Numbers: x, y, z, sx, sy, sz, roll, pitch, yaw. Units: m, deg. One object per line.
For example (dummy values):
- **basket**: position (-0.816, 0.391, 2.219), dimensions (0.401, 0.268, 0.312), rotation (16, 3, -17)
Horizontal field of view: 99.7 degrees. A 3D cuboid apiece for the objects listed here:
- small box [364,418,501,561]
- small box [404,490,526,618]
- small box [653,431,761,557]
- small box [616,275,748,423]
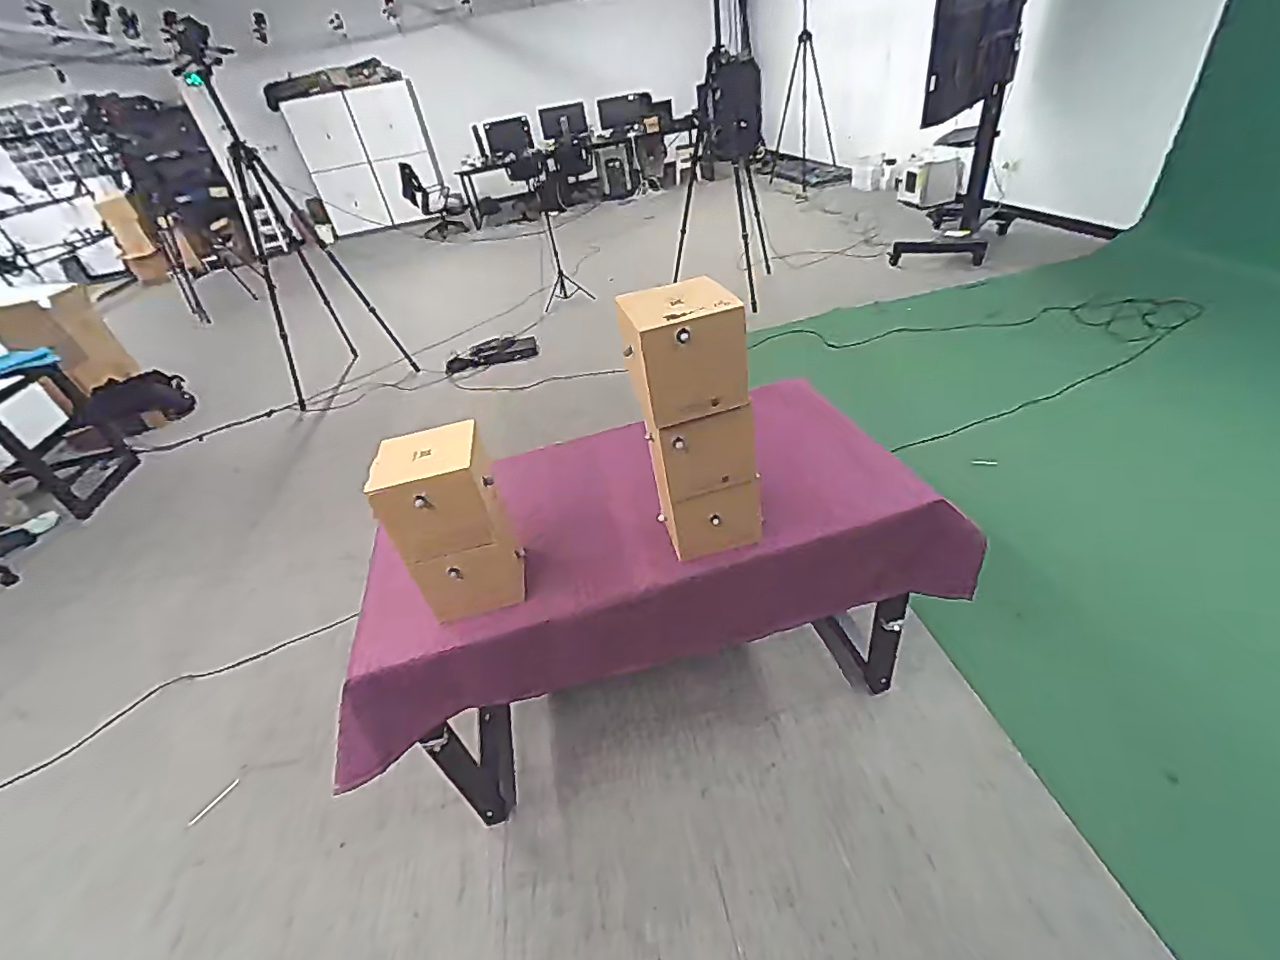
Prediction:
- **small box**: position (-0.357, 0.018, 0.972), dimensions (0.179, 0.176, 0.168), rotation (-15, 37, -3)
- **small box**: position (-0.335, 0.147, 1.069), dimensions (0.179, 0.176, 0.168), rotation (-14, 38, -3)
- **small box**: position (0.136, 0.029, 1.098), dimensions (0.179, 0.176, 0.168), rotation (-15, 37, -3)
- **small box**: position (0.068, -0.217, 0.888), dimensions (0.168, 0.176, 0.179), rotation (-17, 36, -5)
